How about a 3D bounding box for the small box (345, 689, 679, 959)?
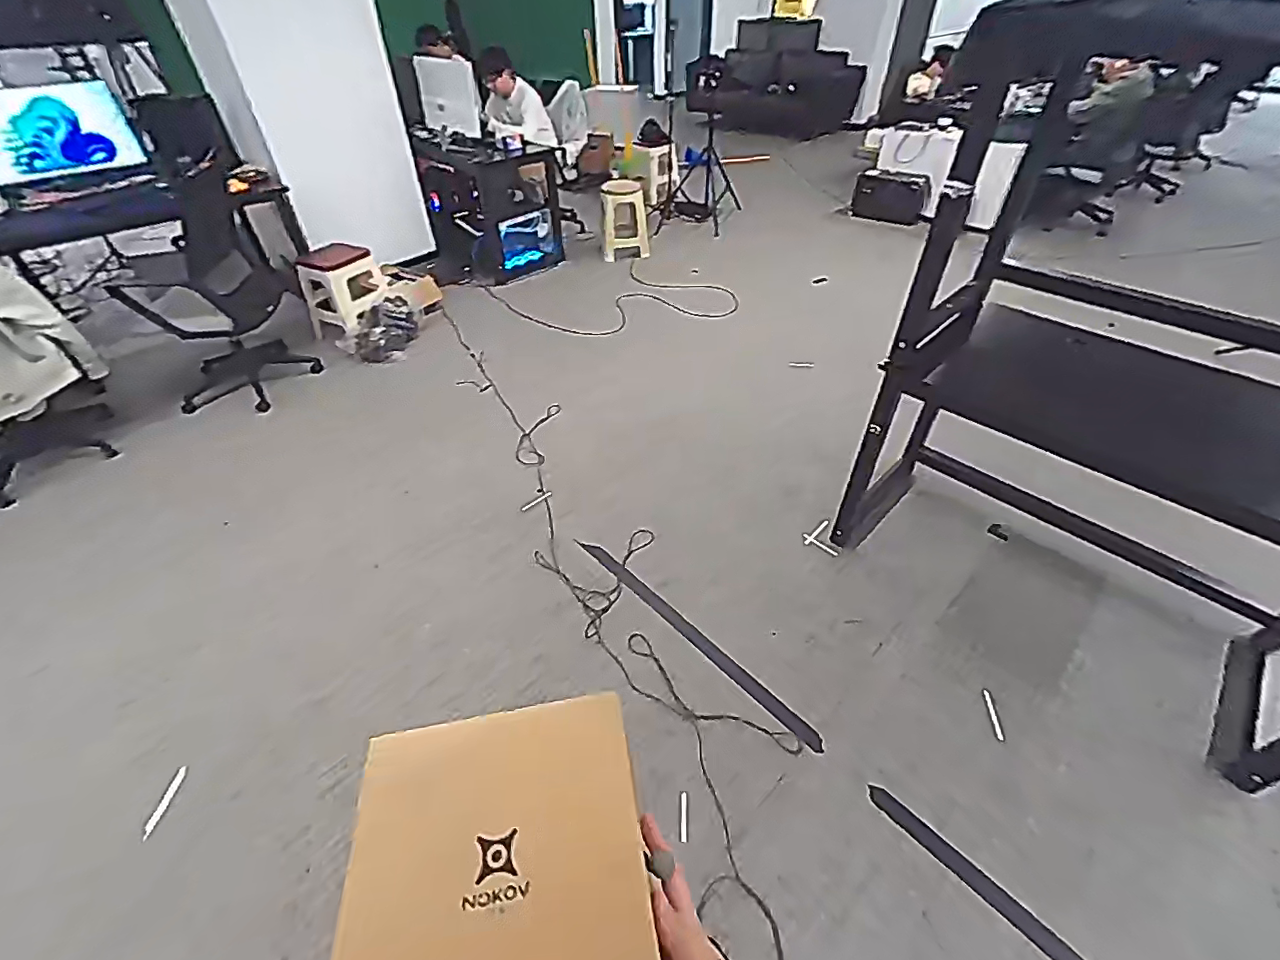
[{"bbox_3d":[-0.068,0.267,0.351,0.168,0.176,0.179,-8,44,-6],"label":"small box"}]
